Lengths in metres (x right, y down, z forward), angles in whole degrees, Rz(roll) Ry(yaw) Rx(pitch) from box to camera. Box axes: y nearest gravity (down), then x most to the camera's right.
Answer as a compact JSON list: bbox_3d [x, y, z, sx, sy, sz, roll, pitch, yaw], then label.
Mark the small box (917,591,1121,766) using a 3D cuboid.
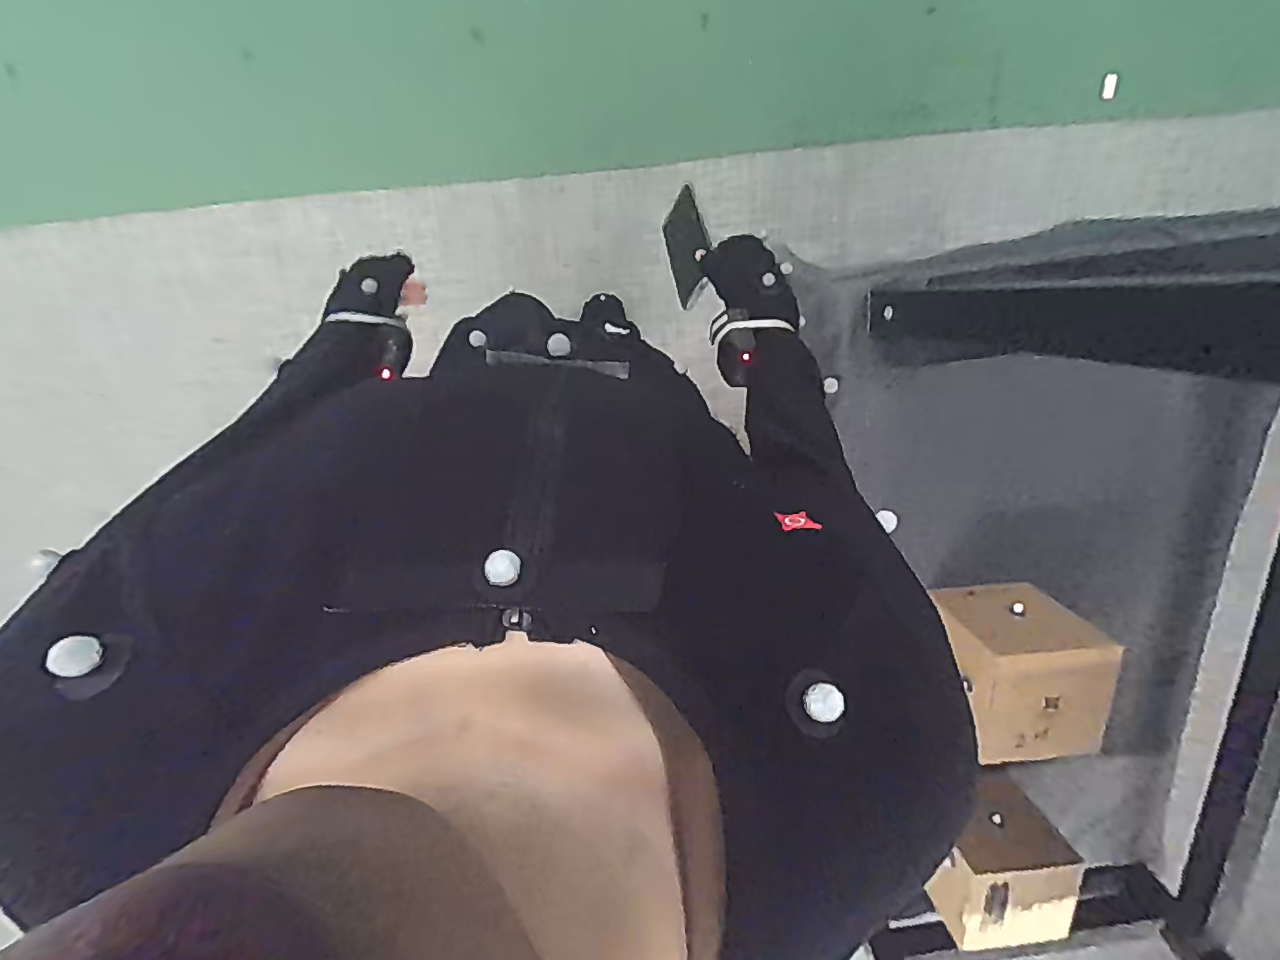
[{"bbox_3d":[0.525,0.271,0.777,0.168,0.176,0.179,-4,107,-1],"label":"small box"}]
